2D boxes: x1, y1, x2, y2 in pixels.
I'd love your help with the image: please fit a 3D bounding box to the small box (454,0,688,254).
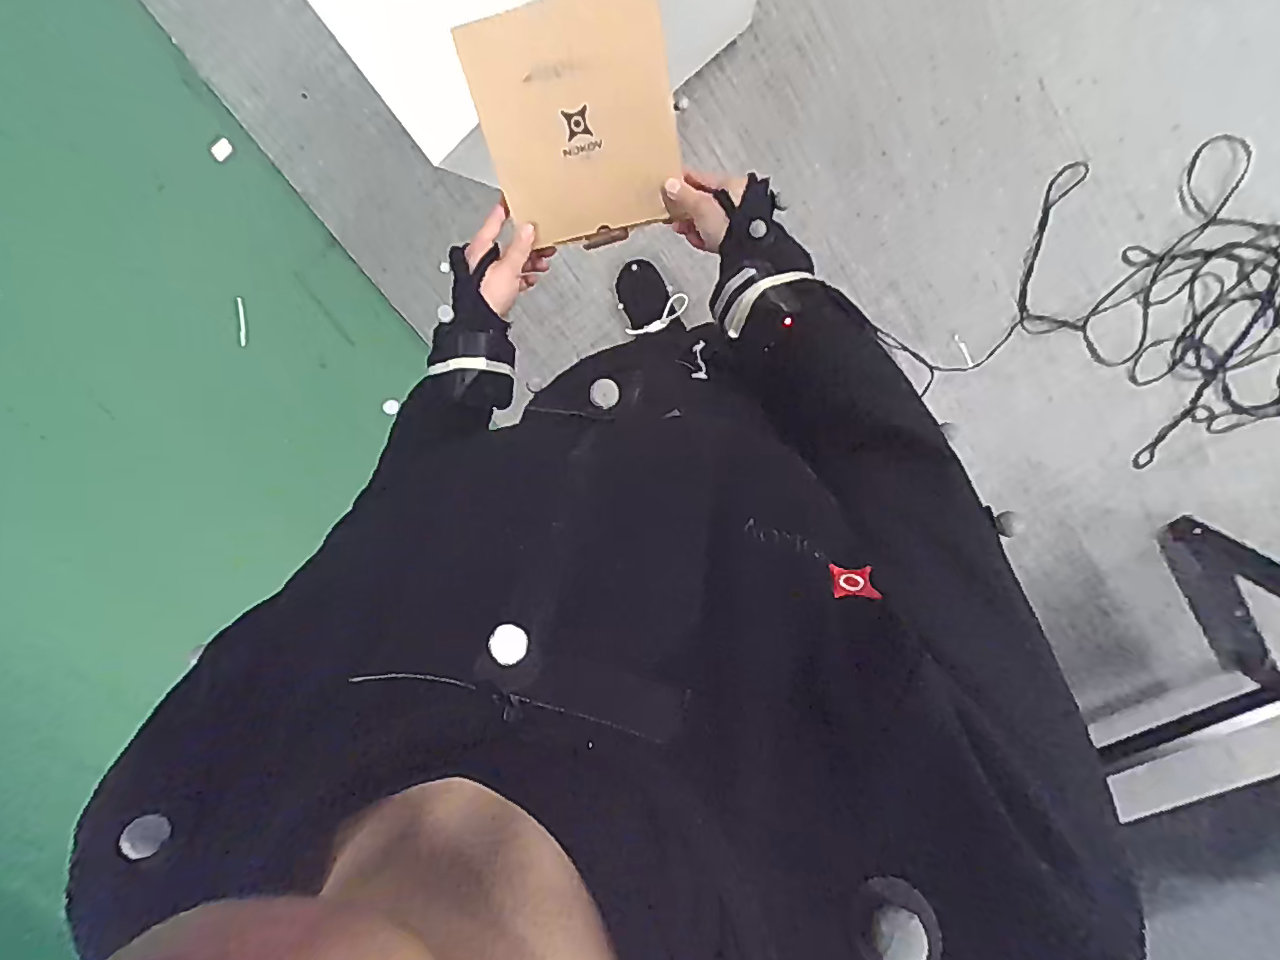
[{"bbox_3d":[-0.047,-0.345,0.524,0.168,0.176,0.179,-9,126,9],"label":"small box"}]
